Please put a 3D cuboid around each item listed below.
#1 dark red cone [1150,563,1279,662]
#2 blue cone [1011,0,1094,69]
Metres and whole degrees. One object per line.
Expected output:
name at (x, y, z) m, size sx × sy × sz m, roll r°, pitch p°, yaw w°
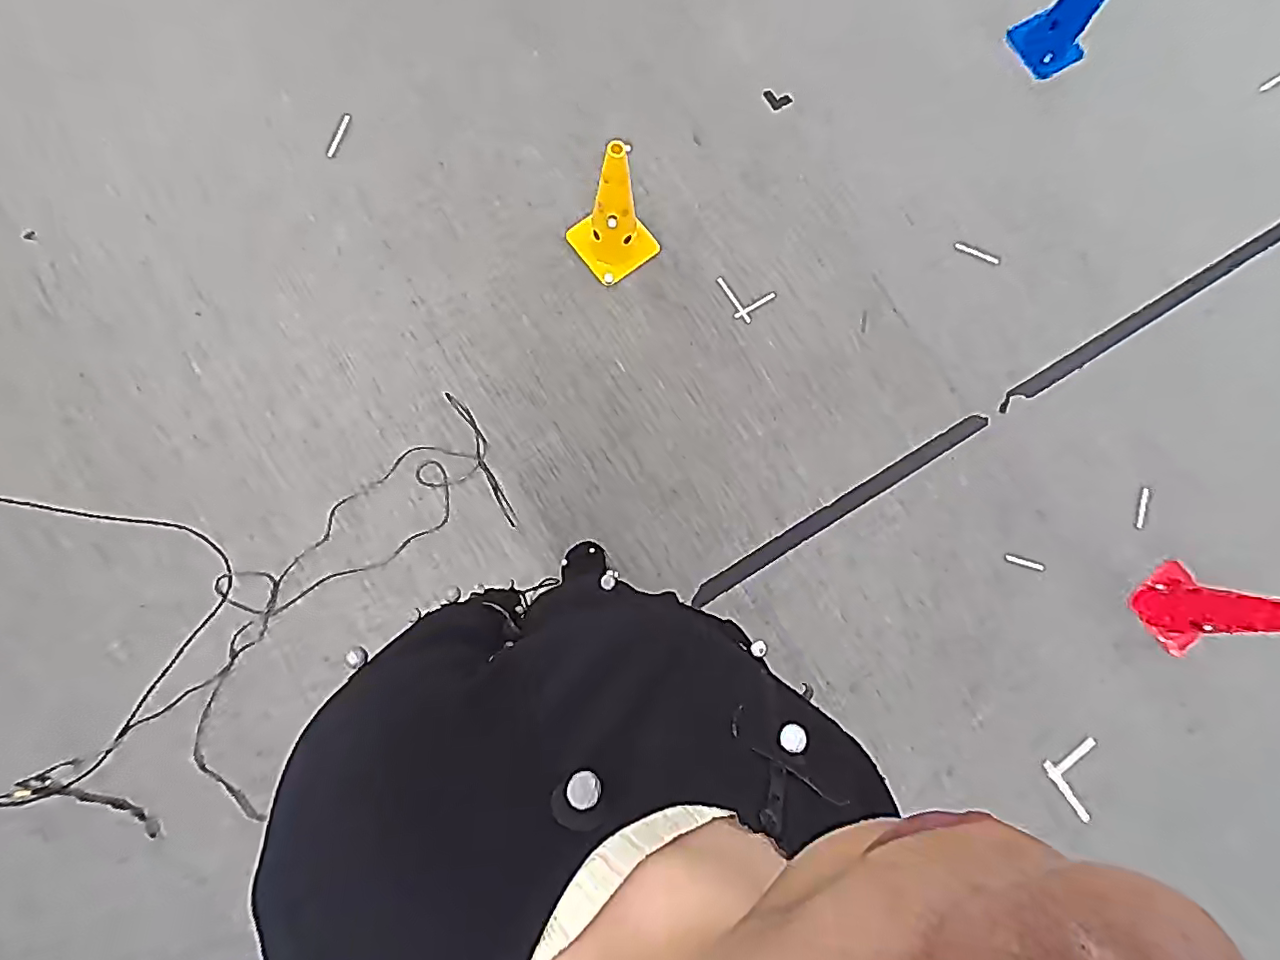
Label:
dark red cone at (1.473, 0.322, 1.262) m, size 0.202 × 0.394 × 0.201 m, roll -39°, pitch 85°, yaw -8°
blue cone at (1.285, -1.408, 1.529) m, size 0.193 × 0.380 × 0.192 m, roll -30°, pitch 84°, yaw -8°
